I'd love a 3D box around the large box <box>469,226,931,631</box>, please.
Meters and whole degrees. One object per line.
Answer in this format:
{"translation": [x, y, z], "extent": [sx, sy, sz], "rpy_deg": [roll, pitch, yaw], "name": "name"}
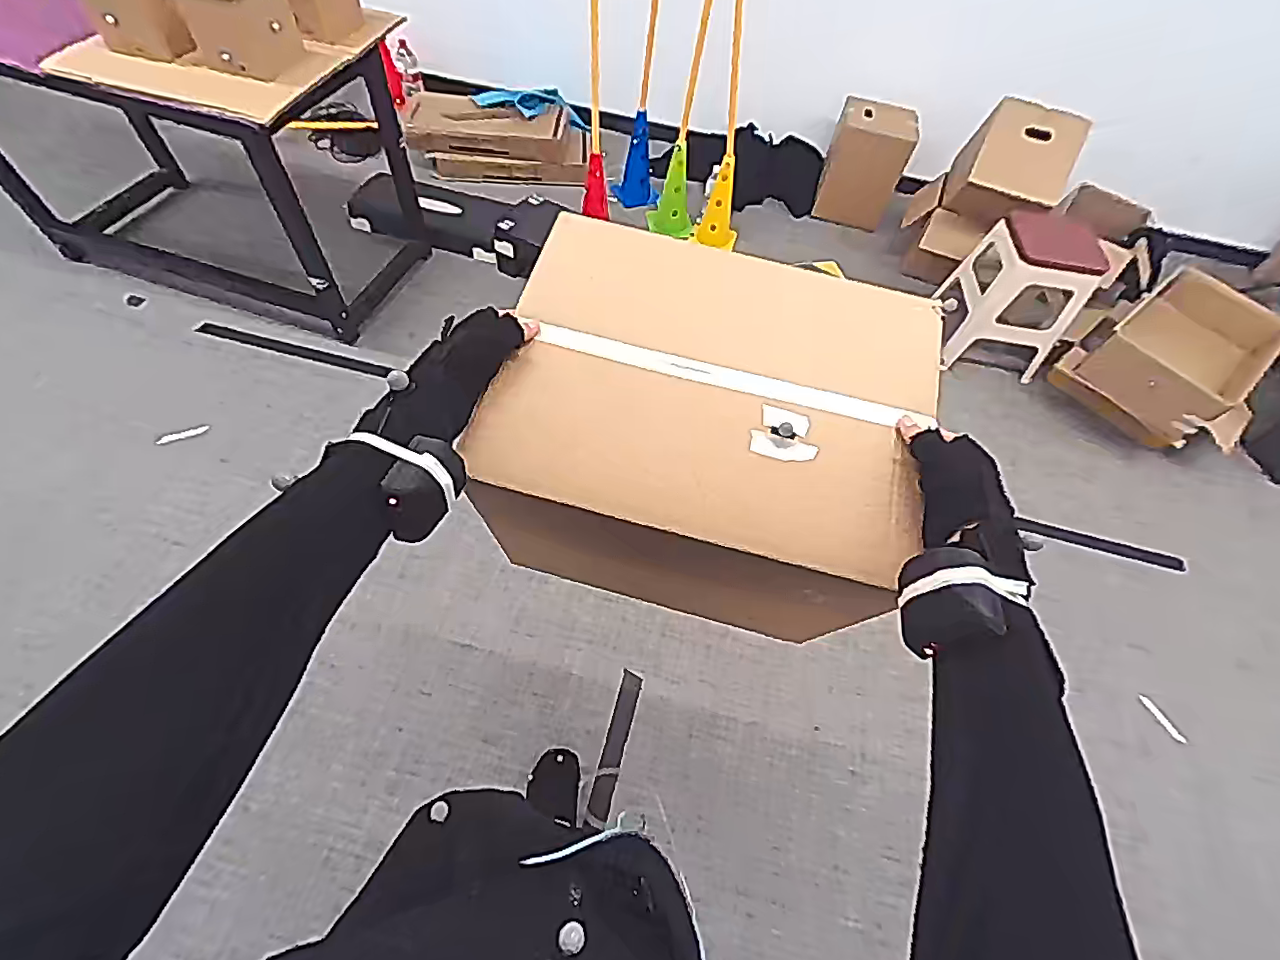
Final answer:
{"translation": [0.066, -0.036, 0.654], "extent": [0.408, 0.320, 0.320], "rpy_deg": [15, 68, 3], "name": "large box"}
